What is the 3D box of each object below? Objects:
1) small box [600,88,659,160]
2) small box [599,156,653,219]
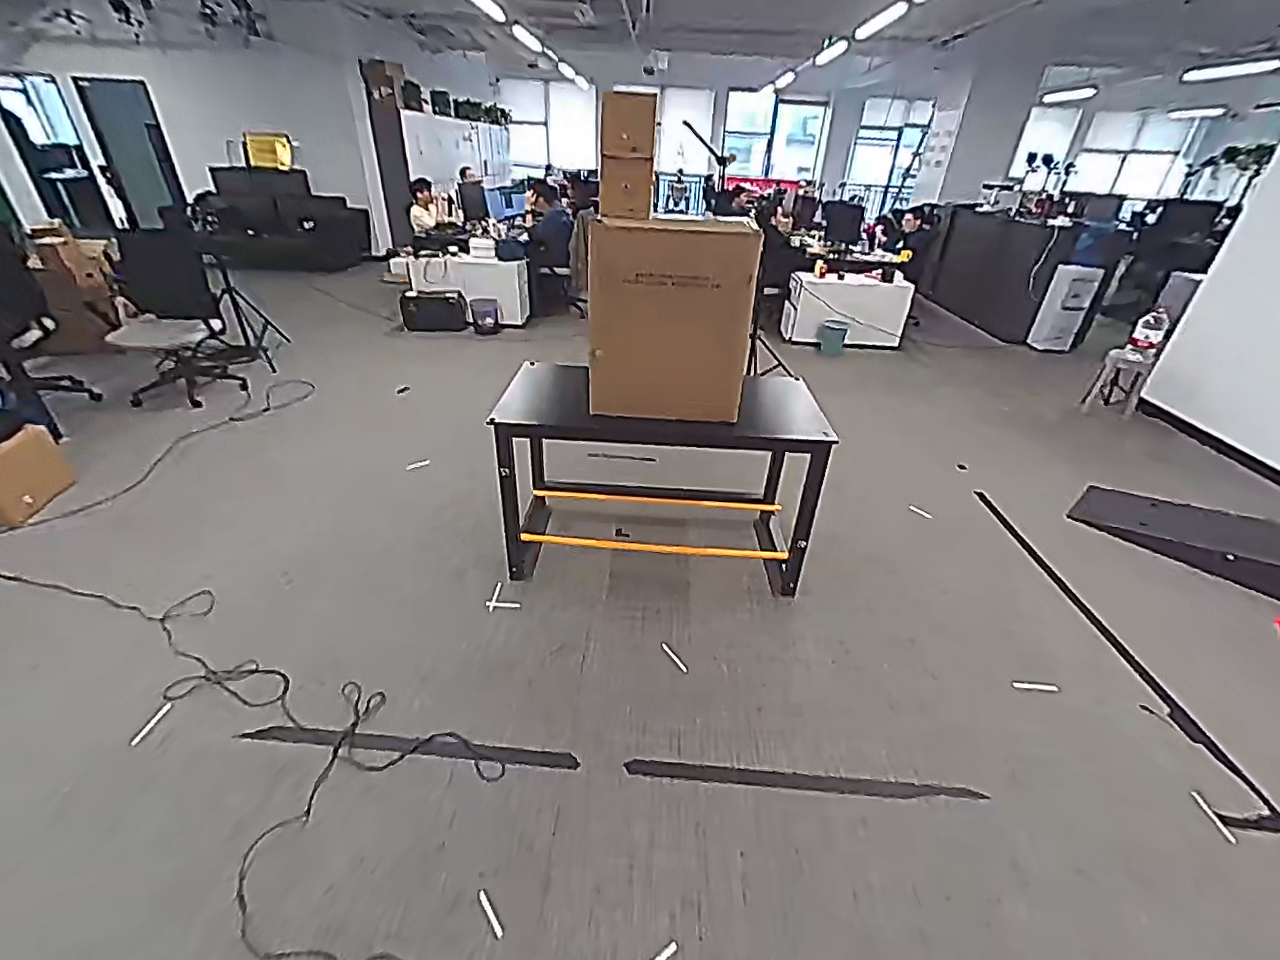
[{"bbox_3d":[-0.034,-1.092,1.670,0.168,0.176,0.179,4,31,1],"label":"small box"},{"bbox_3d":[-0.045,-0.959,1.770,0.168,0.176,0.179,4,31,0],"label":"small box"}]
